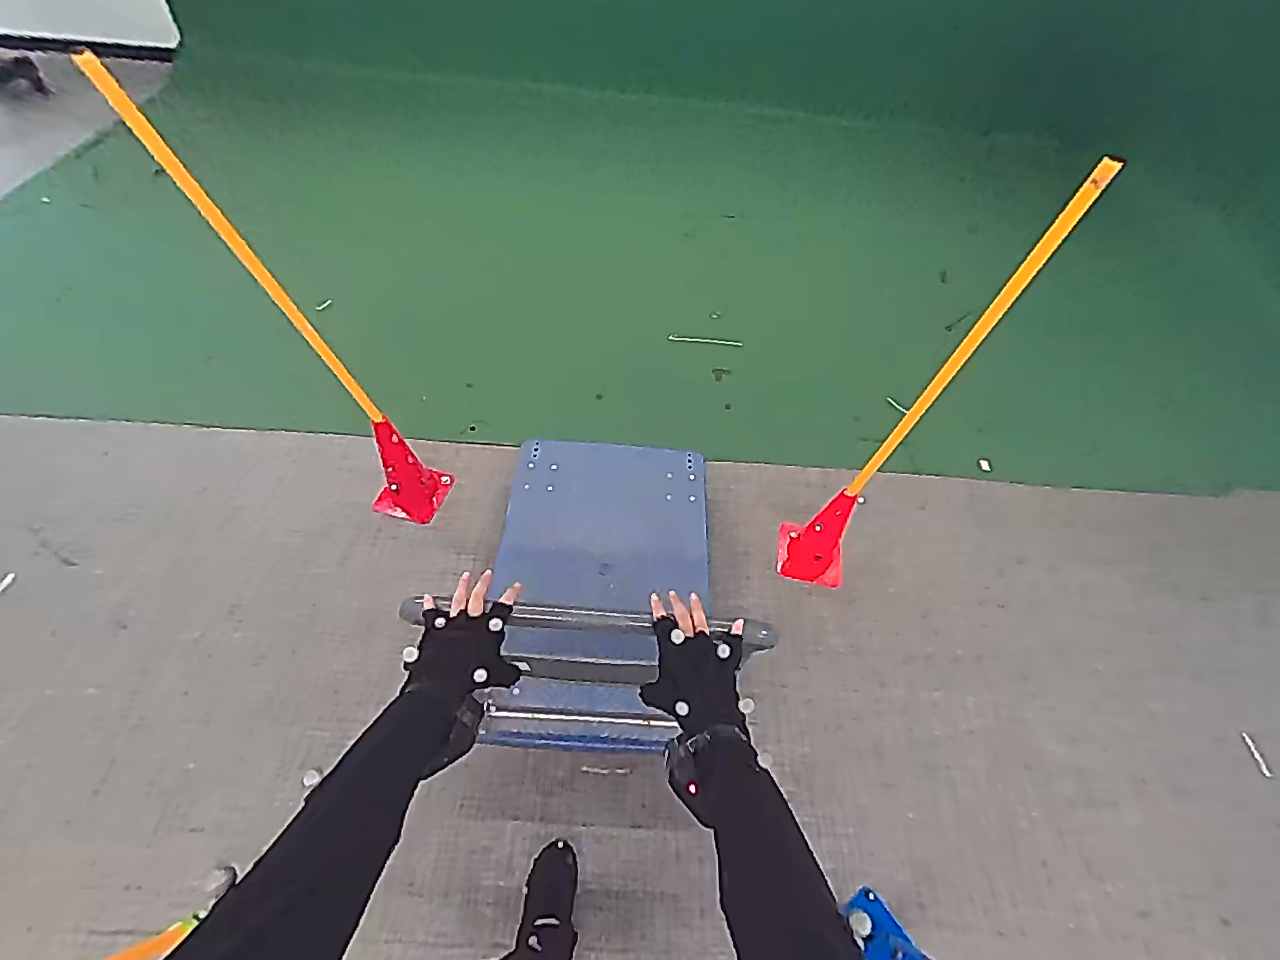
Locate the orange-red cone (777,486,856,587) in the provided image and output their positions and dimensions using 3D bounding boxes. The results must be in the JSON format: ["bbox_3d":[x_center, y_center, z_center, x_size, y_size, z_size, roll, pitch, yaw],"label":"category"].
[{"bbox_3d":[0.551,0.136,1.585,0.198,0.360,0.199,13,55,5],"label":"orange-red cone"}]
